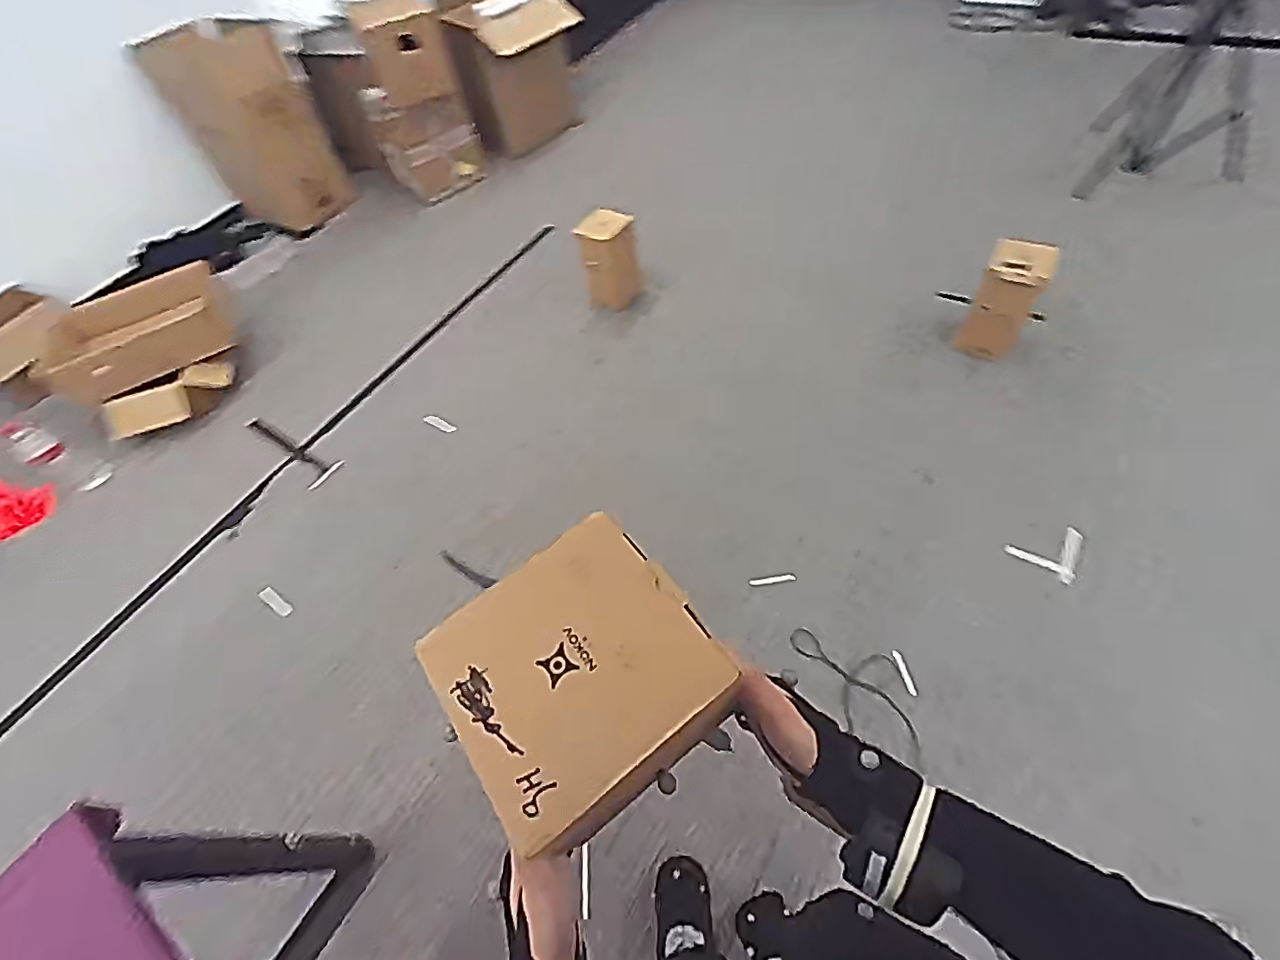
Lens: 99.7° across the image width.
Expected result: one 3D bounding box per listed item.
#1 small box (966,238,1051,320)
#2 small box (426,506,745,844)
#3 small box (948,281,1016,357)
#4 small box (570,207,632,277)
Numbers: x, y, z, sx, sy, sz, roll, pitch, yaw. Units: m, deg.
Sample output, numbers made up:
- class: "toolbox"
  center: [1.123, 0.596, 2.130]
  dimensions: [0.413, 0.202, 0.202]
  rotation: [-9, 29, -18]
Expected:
- class: "small box"
  center: [1.178, -0.643, 1.739]
  dimensions: [0.168, 0.176, 0.179]
  rotation: [22, 62, 21]
- class: "small box"
  center: [-0.036, 0.160, 0.447]
  dimensions: [0.179, 0.176, 0.168]
  rotation: [-34, 60, -13]
- class: "small box"
  center: [1.195, -0.555, 1.877]
  dimensions: [0.168, 0.176, 0.179]
  rotation: [21, 61, 20]
- class: "small box"
  center: [-0.147, -0.946, 2.153]
  dimensions: [0.168, 0.176, 0.179]
  rotation: [29, 66, 26]
